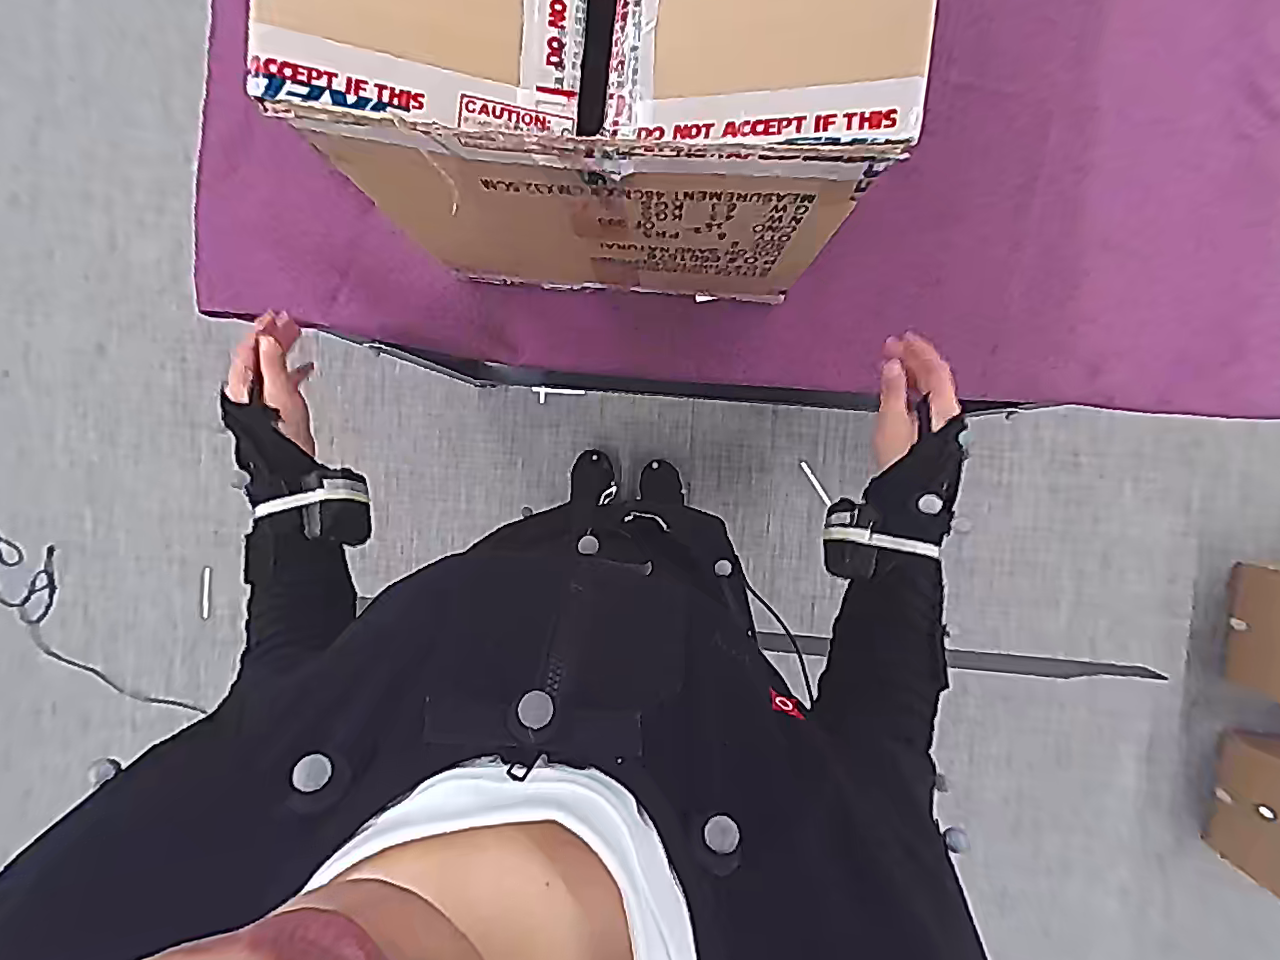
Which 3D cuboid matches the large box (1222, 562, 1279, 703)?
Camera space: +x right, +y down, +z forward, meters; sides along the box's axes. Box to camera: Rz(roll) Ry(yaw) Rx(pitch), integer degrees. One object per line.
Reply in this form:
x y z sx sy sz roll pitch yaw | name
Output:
1.653 0.368 1.188 0.408 0.320 0.320 3 92 3 | large box
